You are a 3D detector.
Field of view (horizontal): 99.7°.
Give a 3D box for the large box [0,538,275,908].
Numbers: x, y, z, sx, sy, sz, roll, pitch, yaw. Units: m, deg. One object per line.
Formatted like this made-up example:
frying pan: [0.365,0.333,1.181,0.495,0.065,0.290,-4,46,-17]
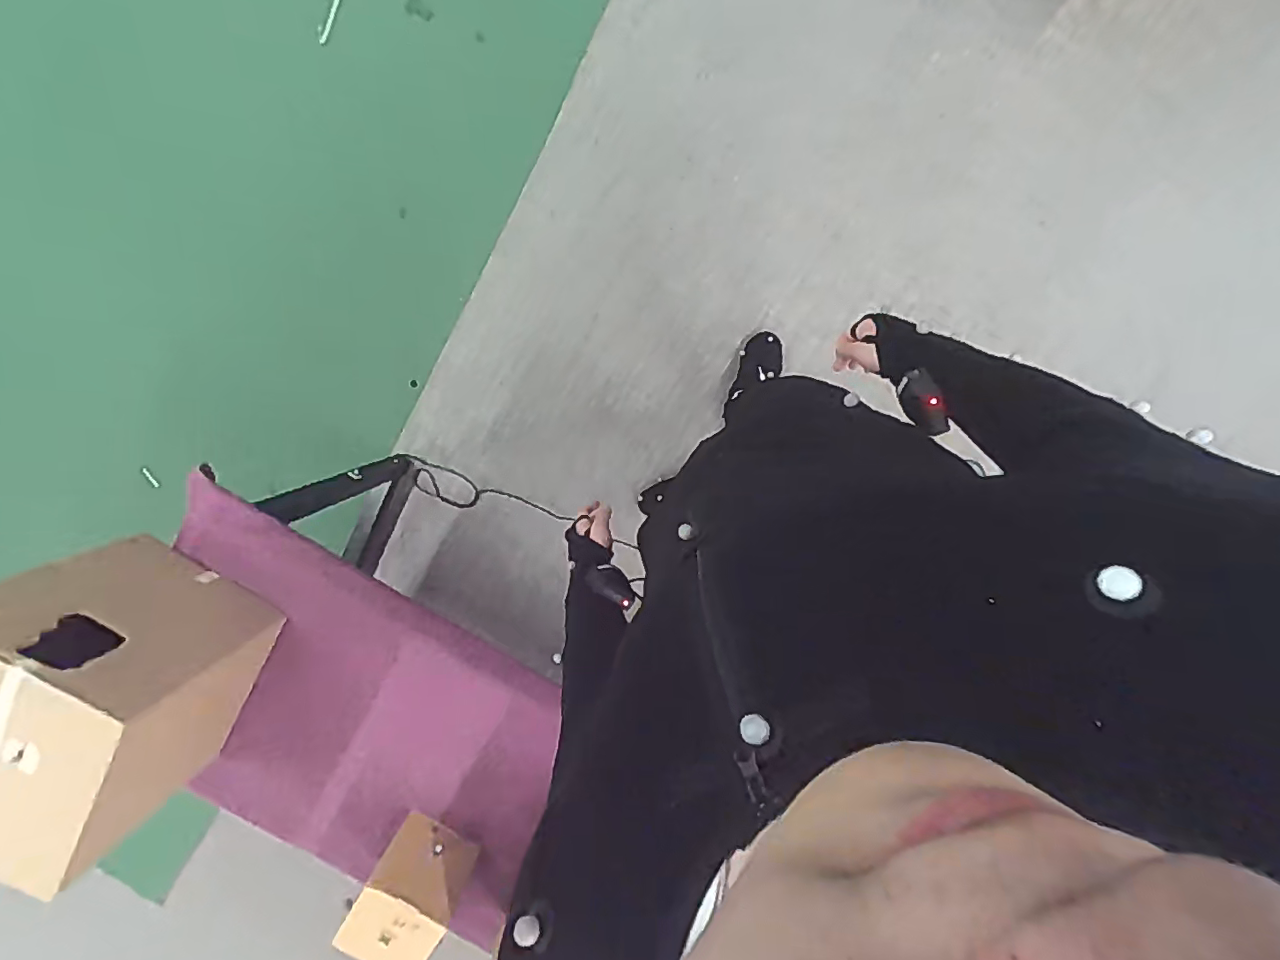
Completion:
large box: [-0.920,0.375,0.908,0.320,0.320,0.408,32,103,-4]
